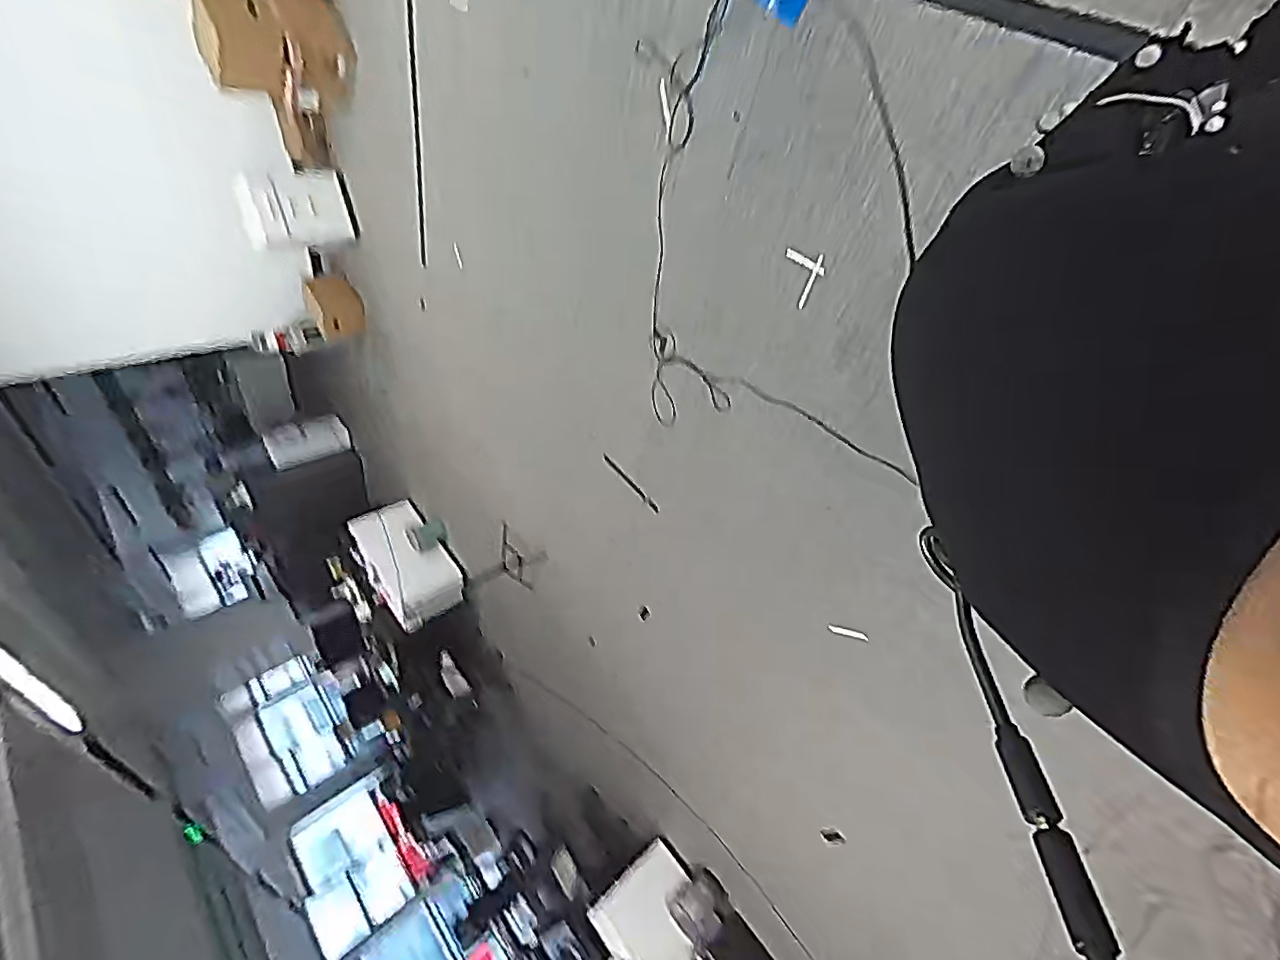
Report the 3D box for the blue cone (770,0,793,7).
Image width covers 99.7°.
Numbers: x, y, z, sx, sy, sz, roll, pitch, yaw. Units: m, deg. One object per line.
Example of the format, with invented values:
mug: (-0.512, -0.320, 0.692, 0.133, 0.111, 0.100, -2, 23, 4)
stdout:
blue cone: (0.232, -1.225, 1.200, 0.193, 0.380, 0.192, 53, 140, 13)
